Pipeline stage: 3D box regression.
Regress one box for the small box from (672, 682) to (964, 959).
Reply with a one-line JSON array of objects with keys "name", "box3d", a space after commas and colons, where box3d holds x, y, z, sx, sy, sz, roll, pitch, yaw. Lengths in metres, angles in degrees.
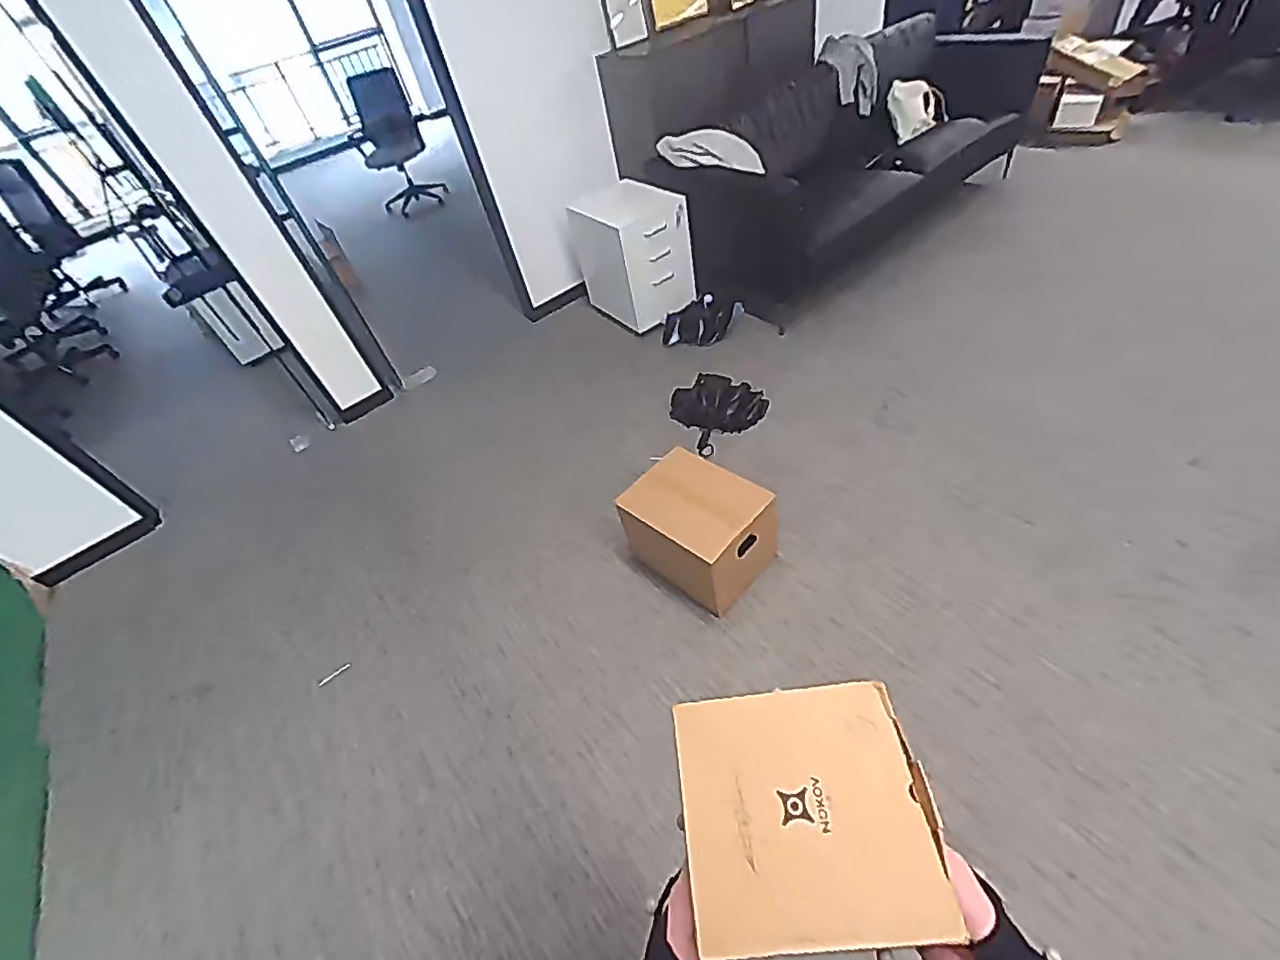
[{"name": "small box", "box3d": [0.131, 0.290, 0.461, 0.179, 0.176, 0.168, -11, 50, 6]}]
